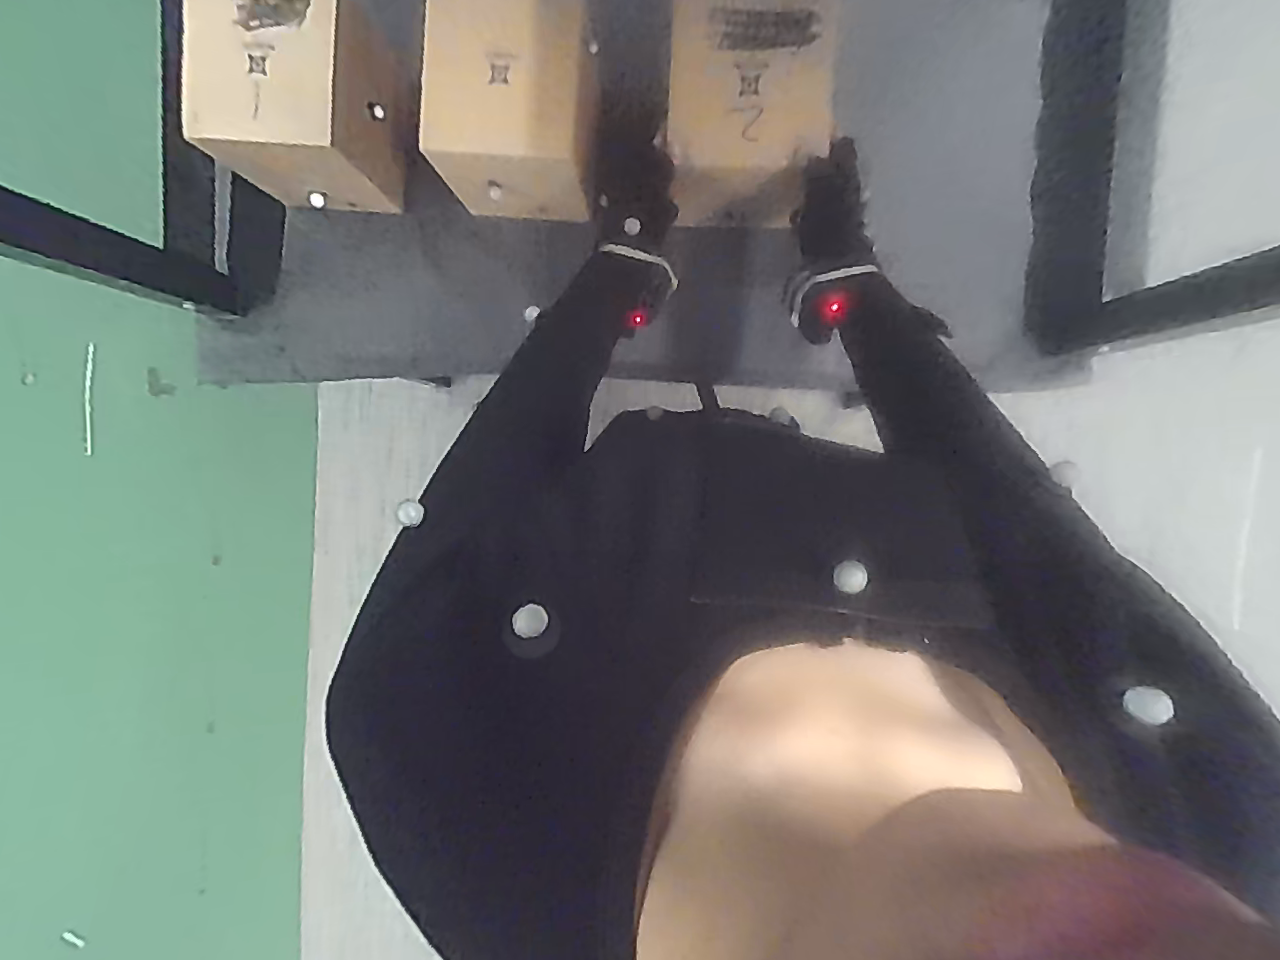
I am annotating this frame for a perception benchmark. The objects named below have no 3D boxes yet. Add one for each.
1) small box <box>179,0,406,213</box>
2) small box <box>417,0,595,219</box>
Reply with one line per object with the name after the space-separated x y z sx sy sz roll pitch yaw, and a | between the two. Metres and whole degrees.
-0.399 -0.452 0.650 0.168 0.176 0.179 5 94 1 | small box
-0.147 -0.435 0.647 0.168 0.176 0.179 5 93 1 | small box
